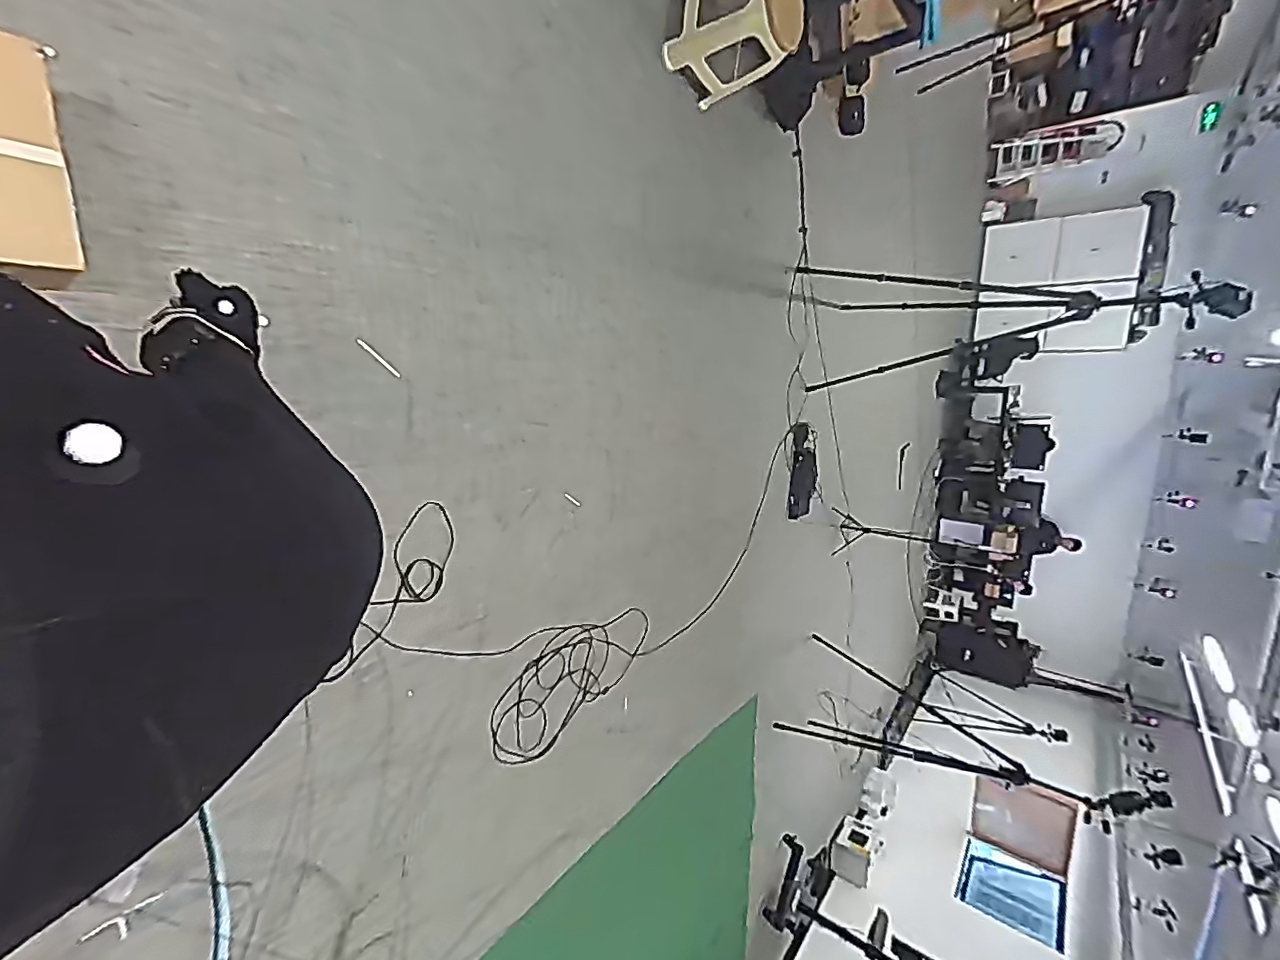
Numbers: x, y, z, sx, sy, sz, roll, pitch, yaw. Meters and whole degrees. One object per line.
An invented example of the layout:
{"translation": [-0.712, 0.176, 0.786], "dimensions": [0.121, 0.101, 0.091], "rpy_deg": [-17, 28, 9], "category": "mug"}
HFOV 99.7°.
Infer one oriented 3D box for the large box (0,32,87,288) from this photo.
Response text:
{"translation": [-1.103, -0.464, 0.754], "dimensions": [0.408, 0.320, 0.320], "rpy_deg": [-13, 107, -50], "category": "large box"}
